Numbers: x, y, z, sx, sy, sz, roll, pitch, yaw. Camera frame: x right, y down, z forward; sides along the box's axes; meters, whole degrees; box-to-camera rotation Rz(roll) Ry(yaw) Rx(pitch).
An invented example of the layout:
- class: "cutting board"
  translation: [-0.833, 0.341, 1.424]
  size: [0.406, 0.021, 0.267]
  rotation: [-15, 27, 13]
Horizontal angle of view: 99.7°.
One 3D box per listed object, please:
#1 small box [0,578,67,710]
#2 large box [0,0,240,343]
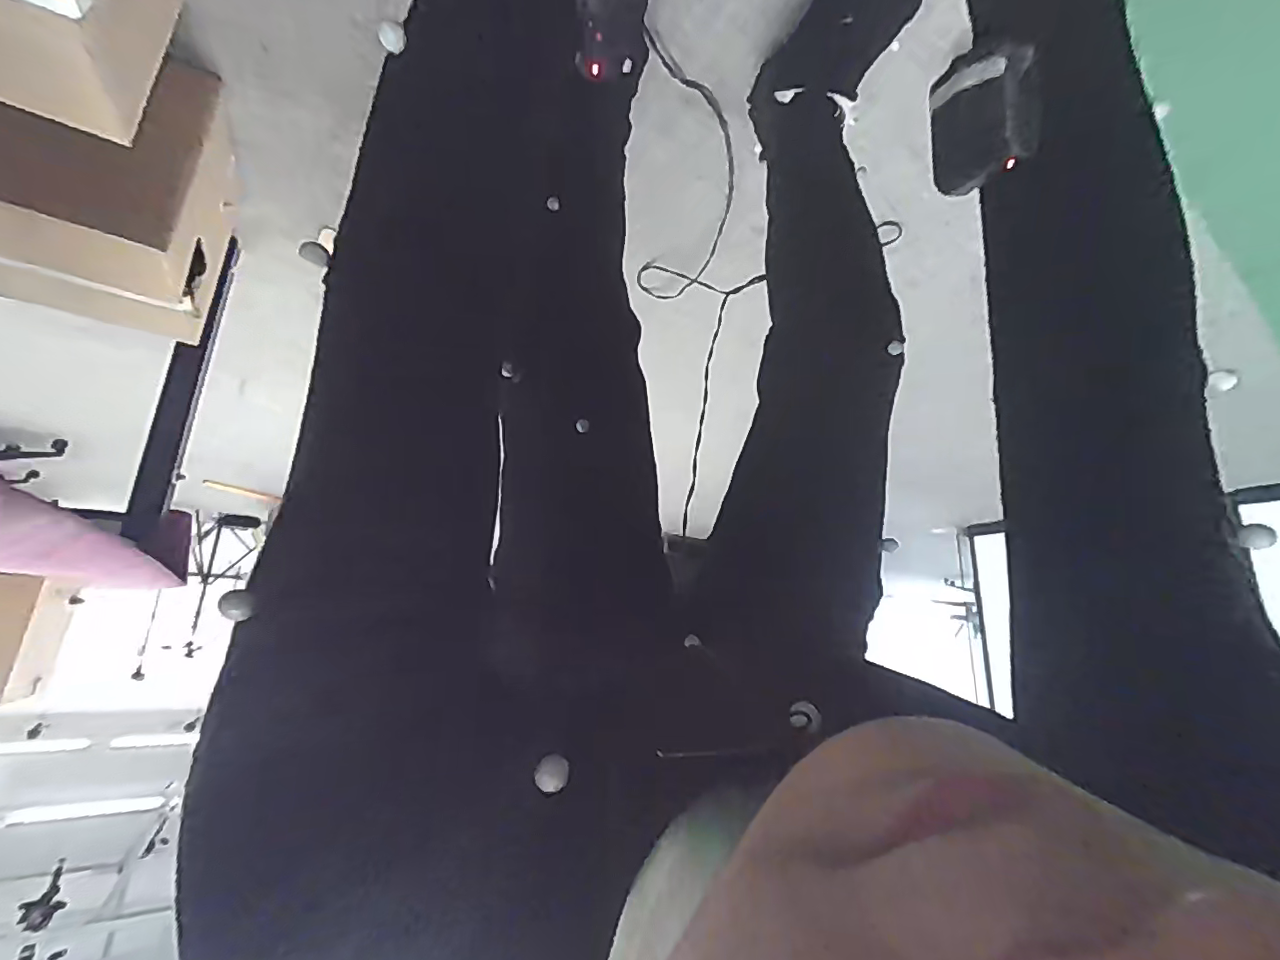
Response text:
- class: "small box"
  translation: [-0.923, 0.213, 0.722]
  size: [0.179, 0.176, 0.168]
  rotation: [14, 160, -29]
- class: "large box"
  translation: [-0.876, -0.456, 0.789]
  size: [0.408, 0.320, 0.320]
  rotation: [14, 160, -30]
